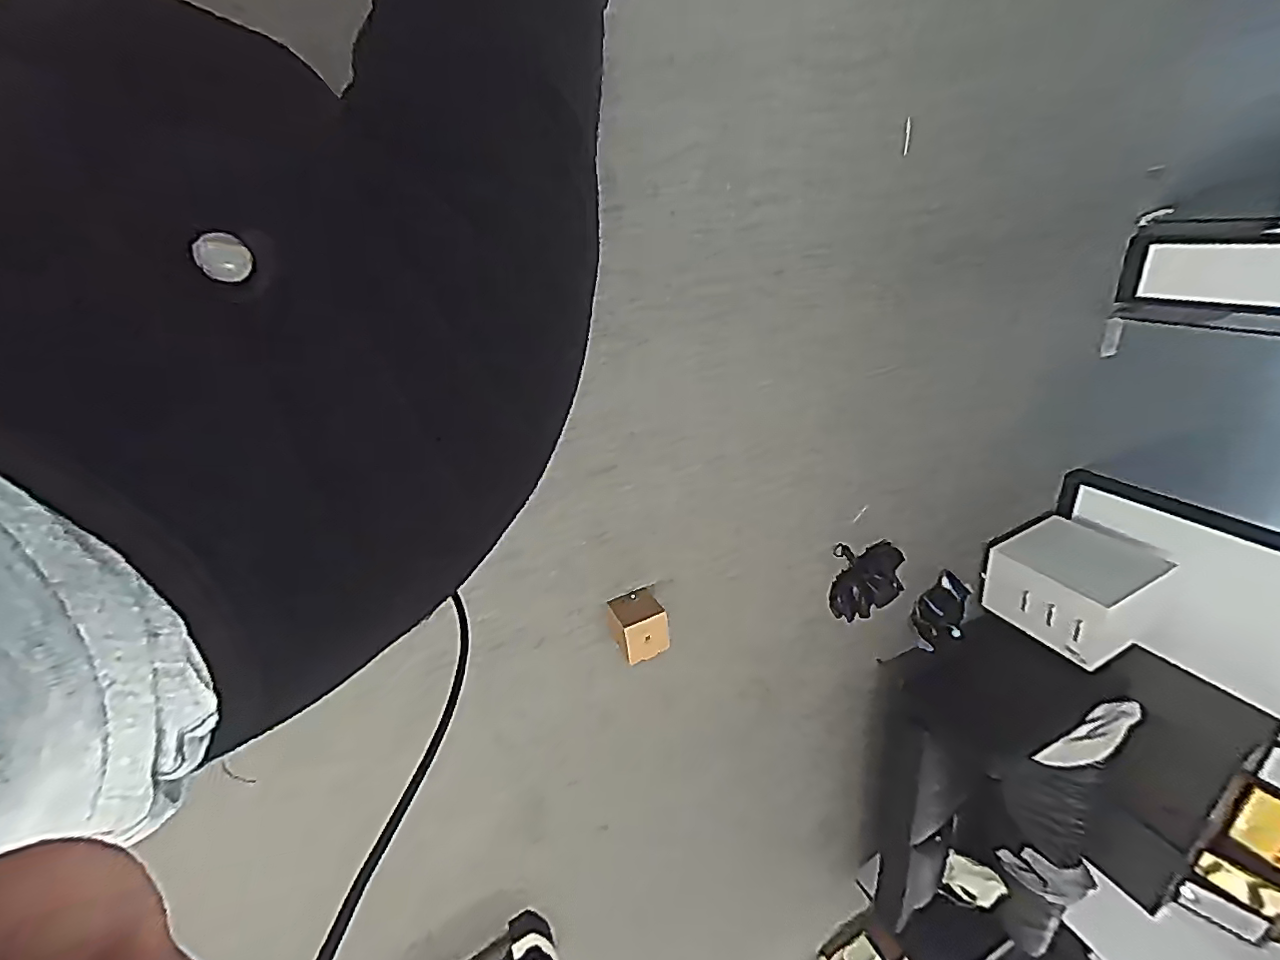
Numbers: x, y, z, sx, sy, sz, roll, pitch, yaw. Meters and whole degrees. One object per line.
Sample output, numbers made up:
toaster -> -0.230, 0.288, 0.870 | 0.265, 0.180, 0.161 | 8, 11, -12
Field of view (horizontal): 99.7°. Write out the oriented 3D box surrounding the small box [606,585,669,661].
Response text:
small box -> -0.011, 0.518, 1.975 | 0.168, 0.176, 0.179 | -19, 118, -20
